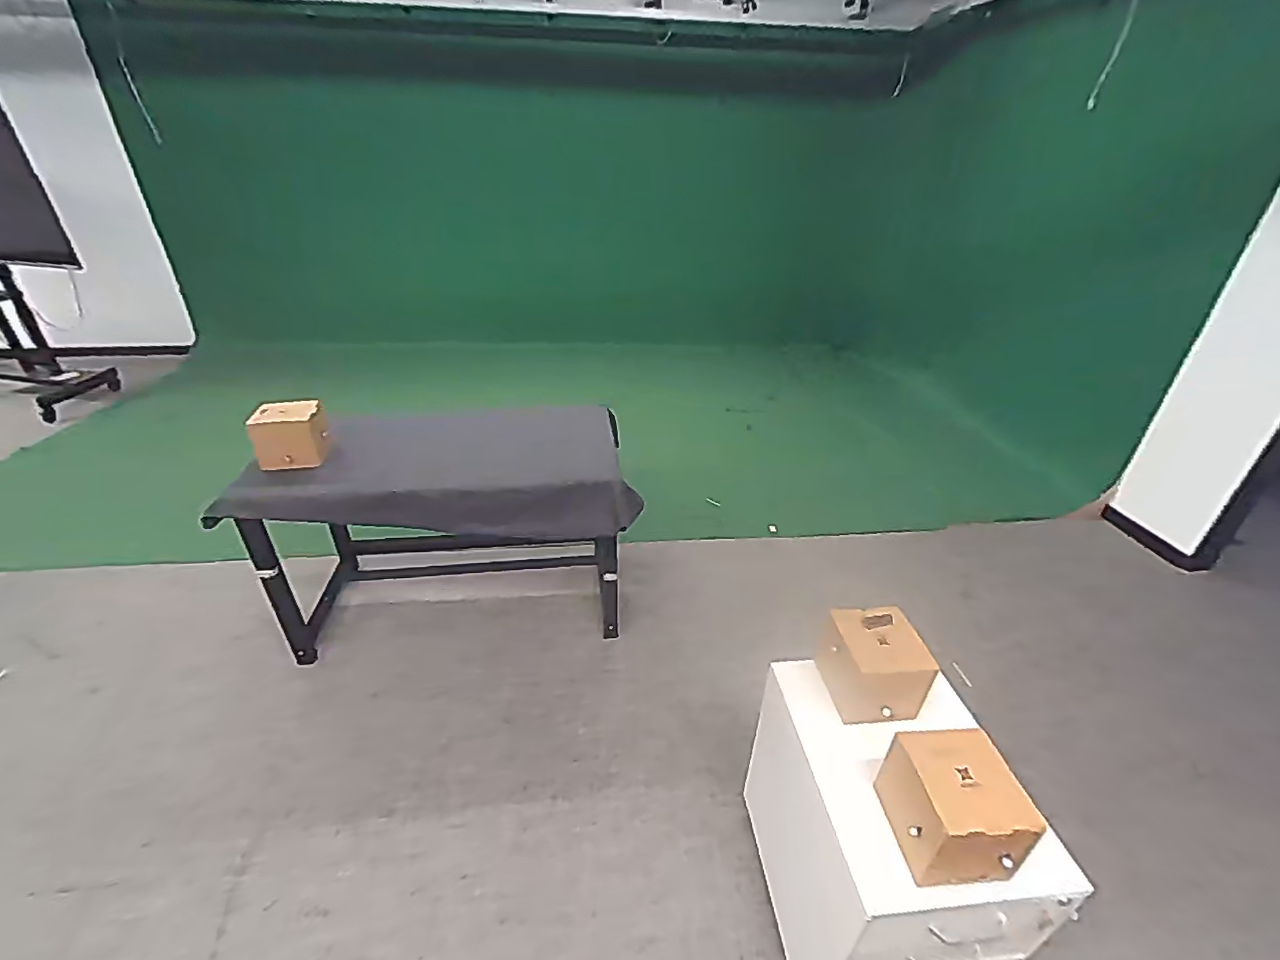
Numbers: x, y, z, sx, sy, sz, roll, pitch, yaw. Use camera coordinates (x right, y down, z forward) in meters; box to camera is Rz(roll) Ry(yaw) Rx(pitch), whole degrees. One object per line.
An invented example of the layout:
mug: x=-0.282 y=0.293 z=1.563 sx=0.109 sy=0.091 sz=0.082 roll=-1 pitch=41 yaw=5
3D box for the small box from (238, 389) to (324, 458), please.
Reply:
small box: x=-1.151 y=-0.184 z=1.751 sx=0.179 sy=0.176 sz=0.168 roll=-4 pitch=32 yaw=-14

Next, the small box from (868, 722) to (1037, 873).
small box: x=0.527 y=0.554 z=0.941 sx=0.168 sy=0.176 sz=0.179 roll=1 pitch=30 yaw=-6

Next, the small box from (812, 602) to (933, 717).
small box: x=0.499 y=0.393 z=1.192 sx=0.168 sy=0.176 sz=0.179 roll=-1 pitch=34 yaw=-6
